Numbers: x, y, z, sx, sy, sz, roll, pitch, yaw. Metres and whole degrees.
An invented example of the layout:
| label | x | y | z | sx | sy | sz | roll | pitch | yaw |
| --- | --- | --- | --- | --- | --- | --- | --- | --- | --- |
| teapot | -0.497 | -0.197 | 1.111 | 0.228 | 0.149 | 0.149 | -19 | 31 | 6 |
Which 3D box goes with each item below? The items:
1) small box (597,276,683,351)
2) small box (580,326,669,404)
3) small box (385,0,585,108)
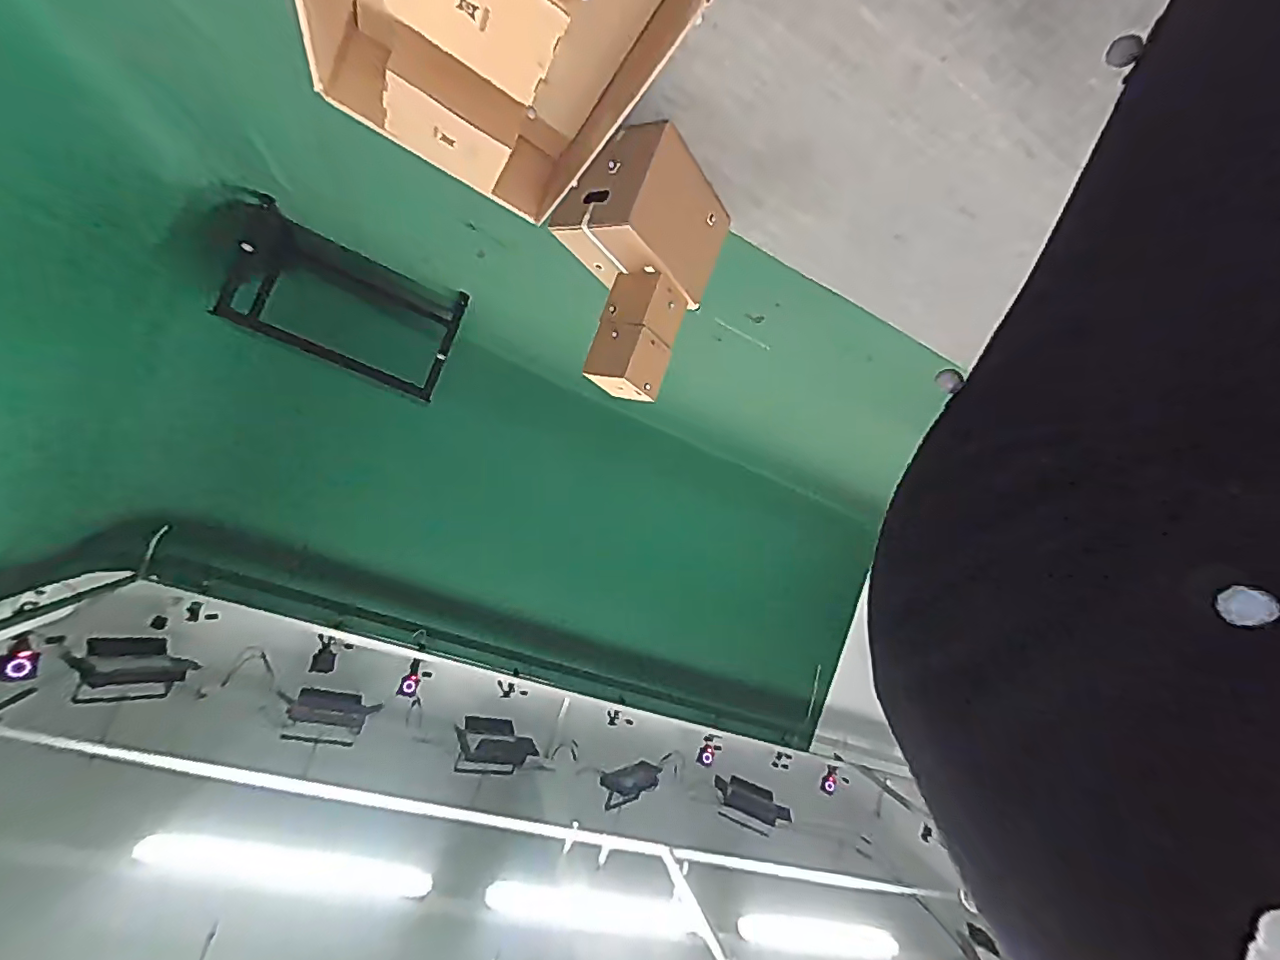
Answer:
| label | x | y | z | sx | sy | sz | roll | pitch | yaw |
| --- | --- | --- | --- | --- | --- | --- | --- | --- | --- |
| small box | 0.005 | -0.504 | 1.644 | 0.179 | 0.176 | 0.168 | 15 | 173 | 36 |
| small box | -0.043 | -0.349 | 1.622 | 0.179 | 0.176 | 0.168 | 16 | 173 | 37 |
| small box | -0.142 | -0.554 | 0.562 | 0.179 | 0.176 | 0.168 | 21 | 175 | -26 |
